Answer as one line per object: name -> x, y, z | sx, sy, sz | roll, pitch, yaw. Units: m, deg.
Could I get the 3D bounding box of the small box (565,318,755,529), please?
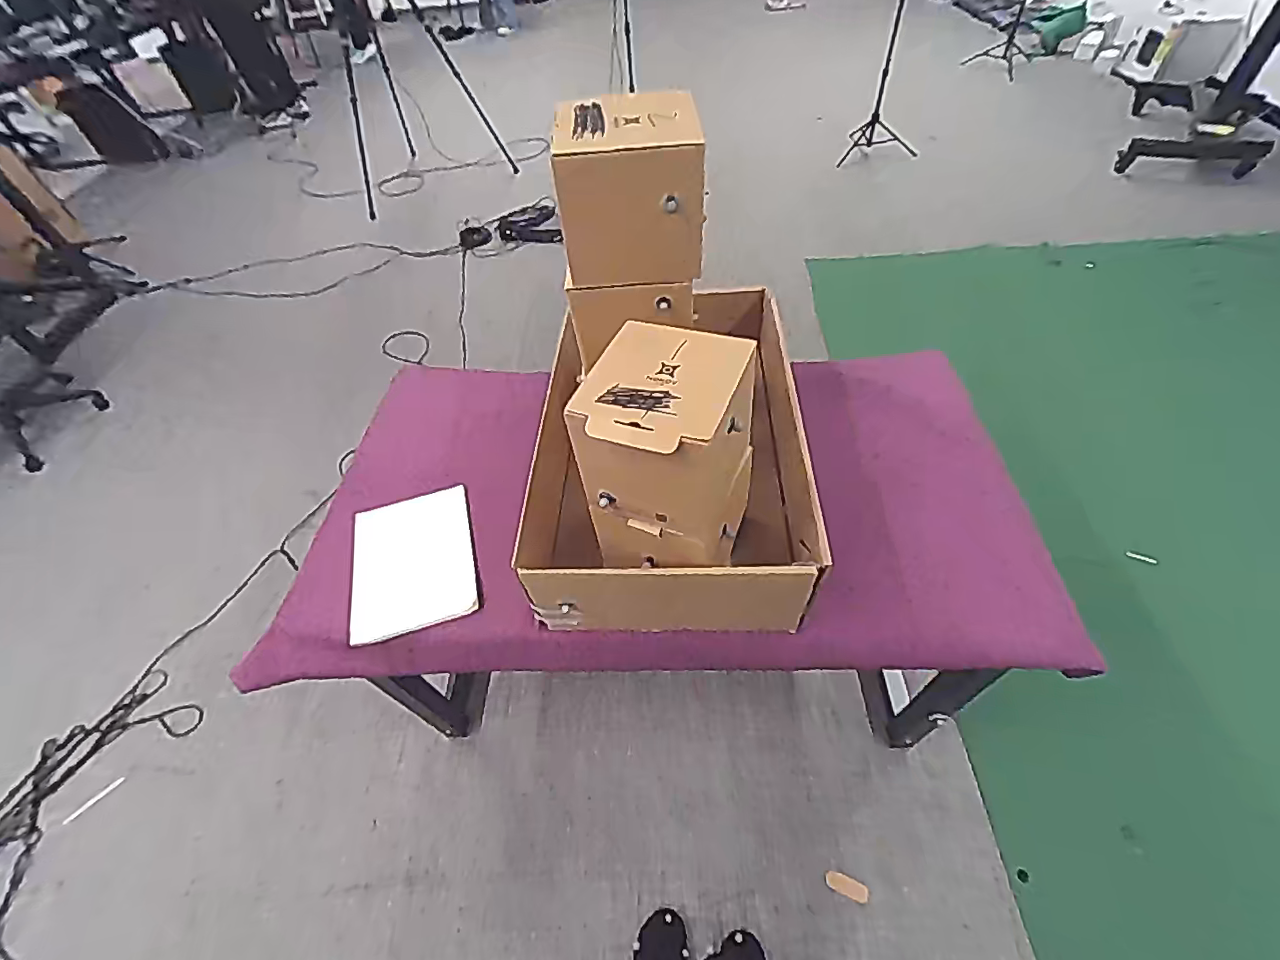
small box -> 0.034, -0.067, 0.654 | 0.168, 0.176, 0.179 | 15, 53, 19

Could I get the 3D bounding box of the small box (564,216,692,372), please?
small box -> -0.010, -0.280, 0.836 | 0.179, 0.176, 0.168 | -3, 53, 3
